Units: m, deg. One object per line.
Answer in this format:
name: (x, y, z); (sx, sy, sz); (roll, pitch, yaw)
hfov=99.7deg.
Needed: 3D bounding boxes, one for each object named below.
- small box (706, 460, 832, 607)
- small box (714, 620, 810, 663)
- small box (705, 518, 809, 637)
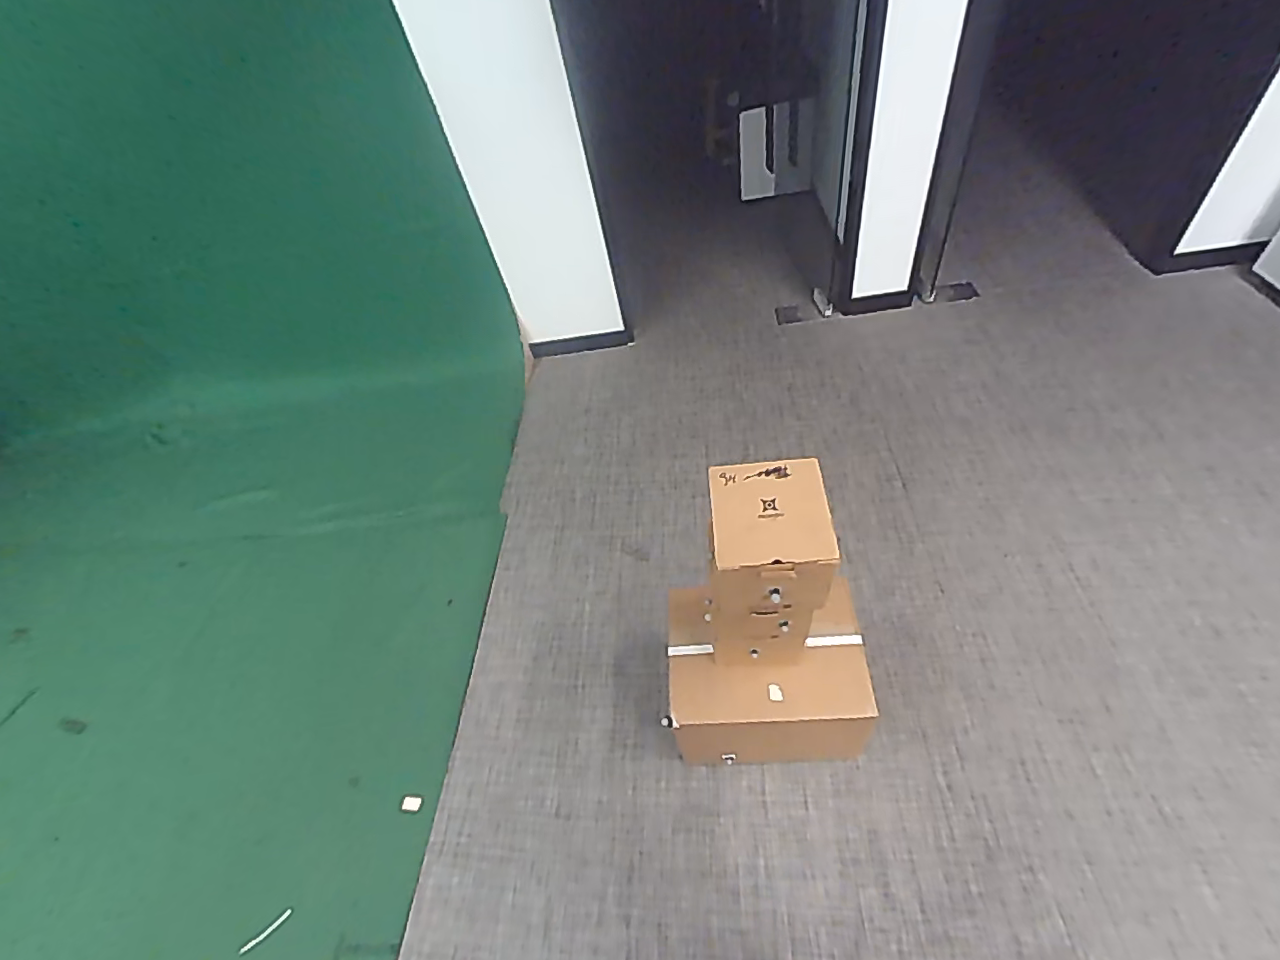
small box: (0.195, 0.092, 0.846); (0.168, 0.176, 0.179); (-5, 55, 8)
small box: (0.239, 0.271, 1.115); (0.179, 0.176, 0.168); (-7, 55, 8)
small box: (0.210, 0.179, 0.984); (0.168, 0.176, 0.179); (-5, 54, 8)
